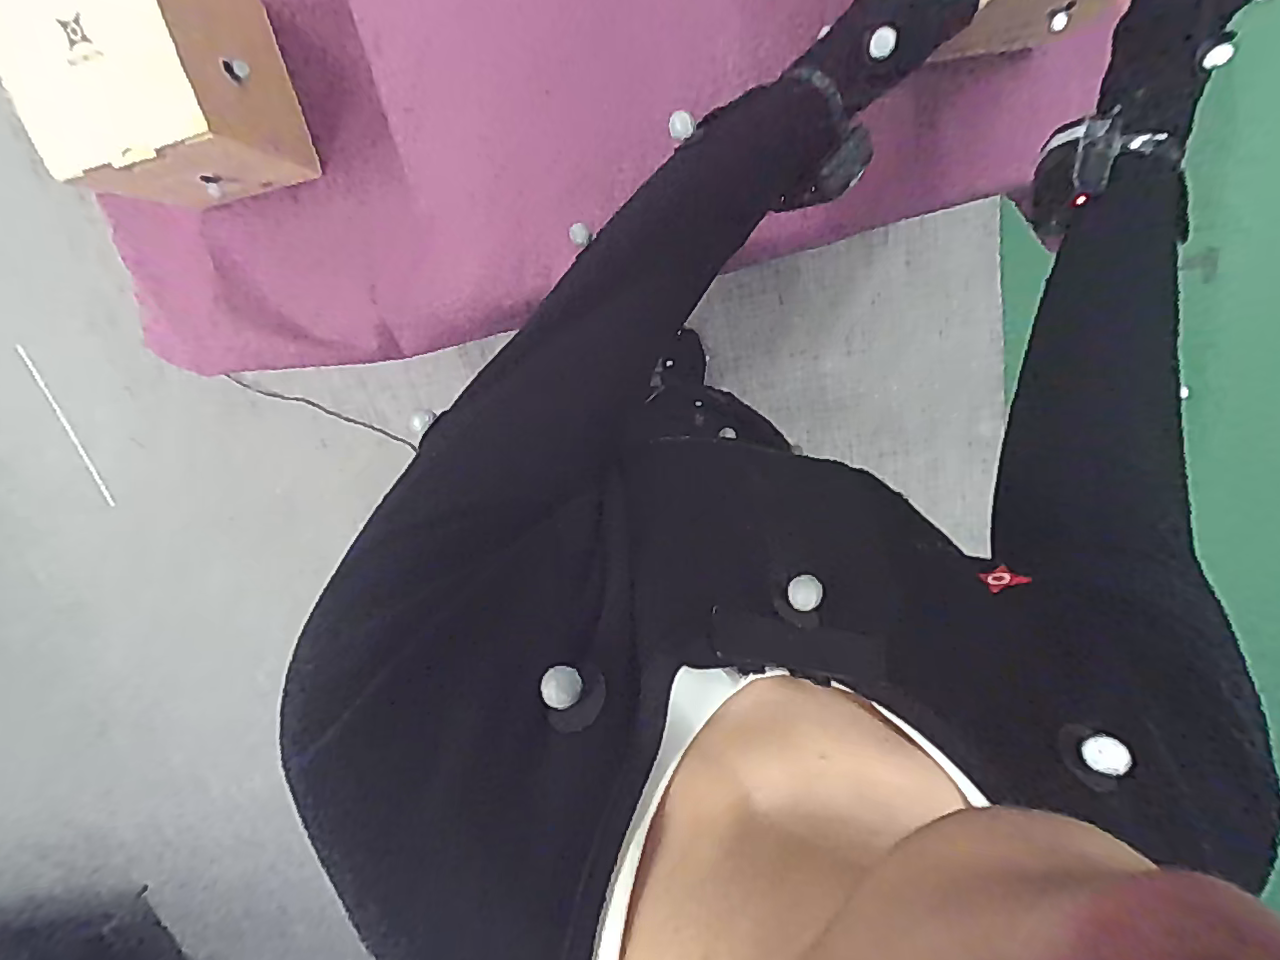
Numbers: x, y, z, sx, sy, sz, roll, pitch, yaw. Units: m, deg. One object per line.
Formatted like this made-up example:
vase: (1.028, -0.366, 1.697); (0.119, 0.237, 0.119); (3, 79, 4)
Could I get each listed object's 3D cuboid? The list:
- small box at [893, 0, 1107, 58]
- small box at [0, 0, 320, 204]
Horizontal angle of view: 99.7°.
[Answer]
small box: (0.320, -0.486, 0.449); (0.168, 0.176, 0.179); (-2, 109, 11)
small box: (-0.463, -0.389, 0.536); (0.168, 0.176, 0.179); (-11, 108, 6)
